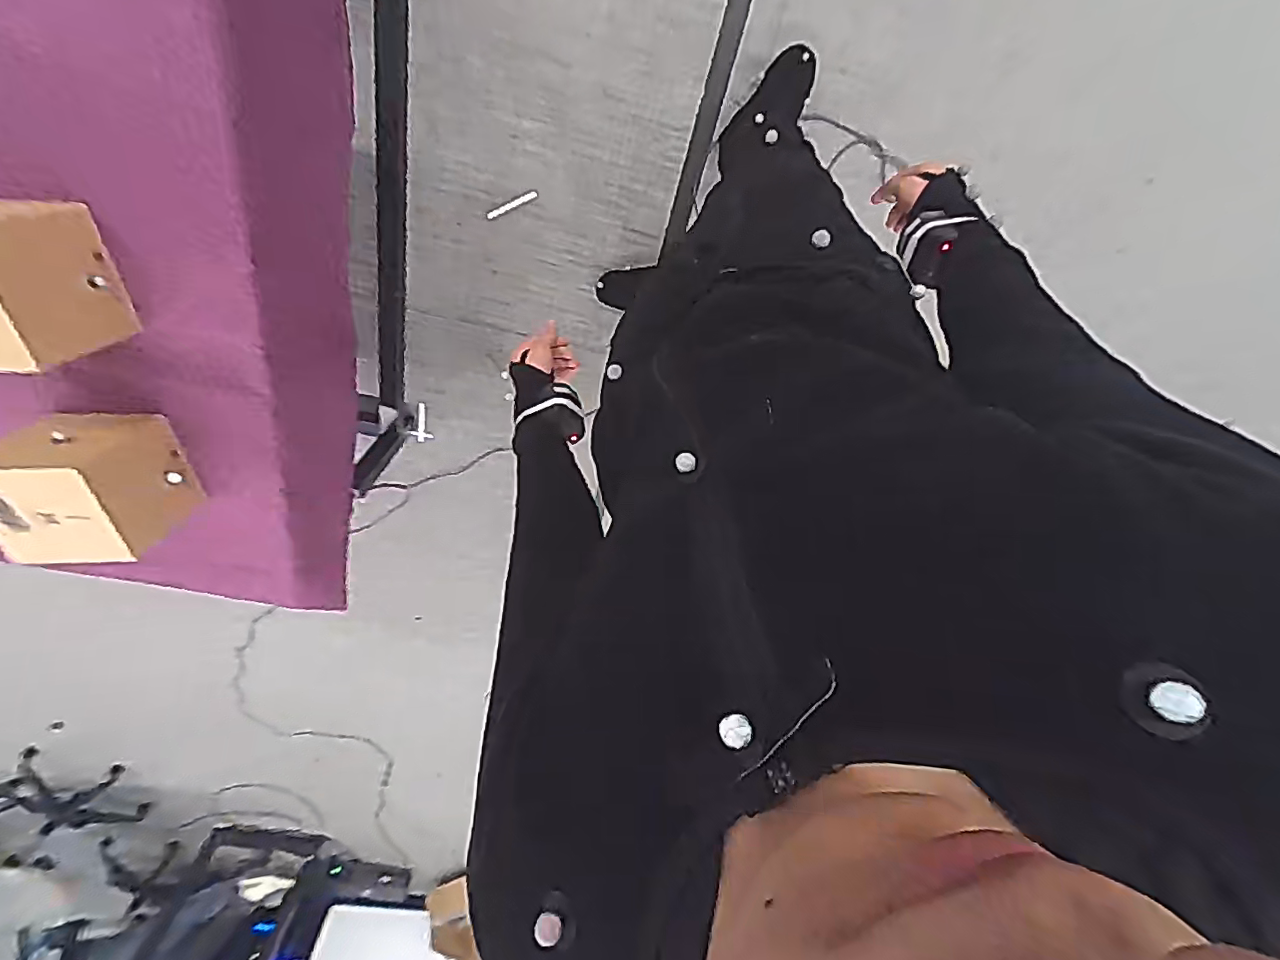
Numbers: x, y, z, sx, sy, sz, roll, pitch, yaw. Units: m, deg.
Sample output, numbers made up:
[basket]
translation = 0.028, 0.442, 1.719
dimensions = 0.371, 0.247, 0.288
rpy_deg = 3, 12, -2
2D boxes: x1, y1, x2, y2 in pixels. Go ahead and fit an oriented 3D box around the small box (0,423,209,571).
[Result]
[small box]
translation = -0.828, 0.021, 0.829
dimensions = 0.179, 0.176, 0.168
rpy_deg = -1, 123, -1
